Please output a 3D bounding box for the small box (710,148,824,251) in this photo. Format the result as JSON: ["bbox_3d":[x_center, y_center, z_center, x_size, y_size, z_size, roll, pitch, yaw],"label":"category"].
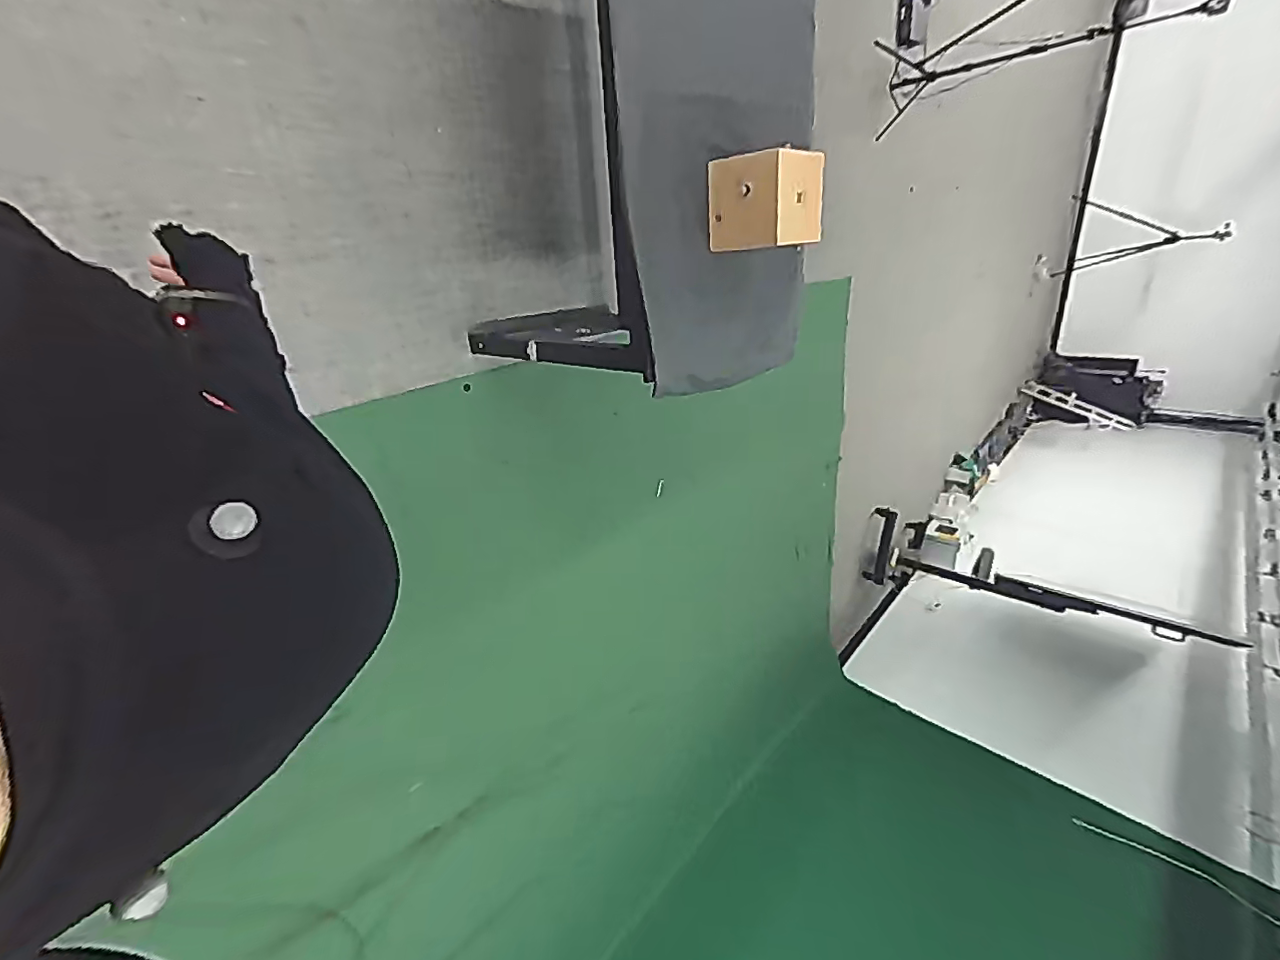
[{"bbox_3d":[0.257,-0.568,1.112,0.179,0.176,0.168,-26,121,-40],"label":"small box"}]
